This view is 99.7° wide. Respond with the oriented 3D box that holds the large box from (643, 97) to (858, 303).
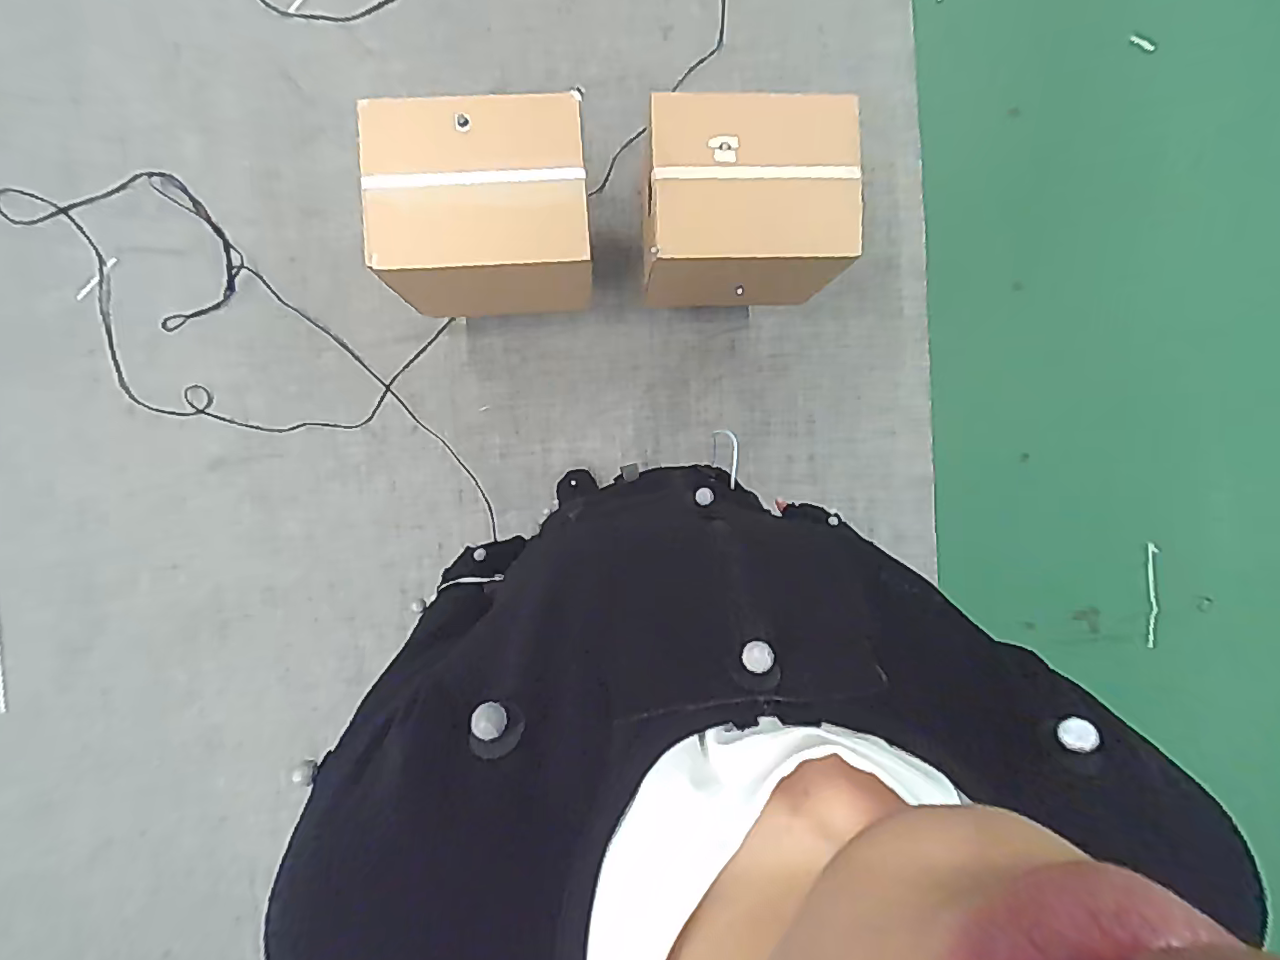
[{"bbox_3d":[0.219,-0.588,1.193,0.408,0.320,0.320,-2,91,-3],"label":"large box"}]
